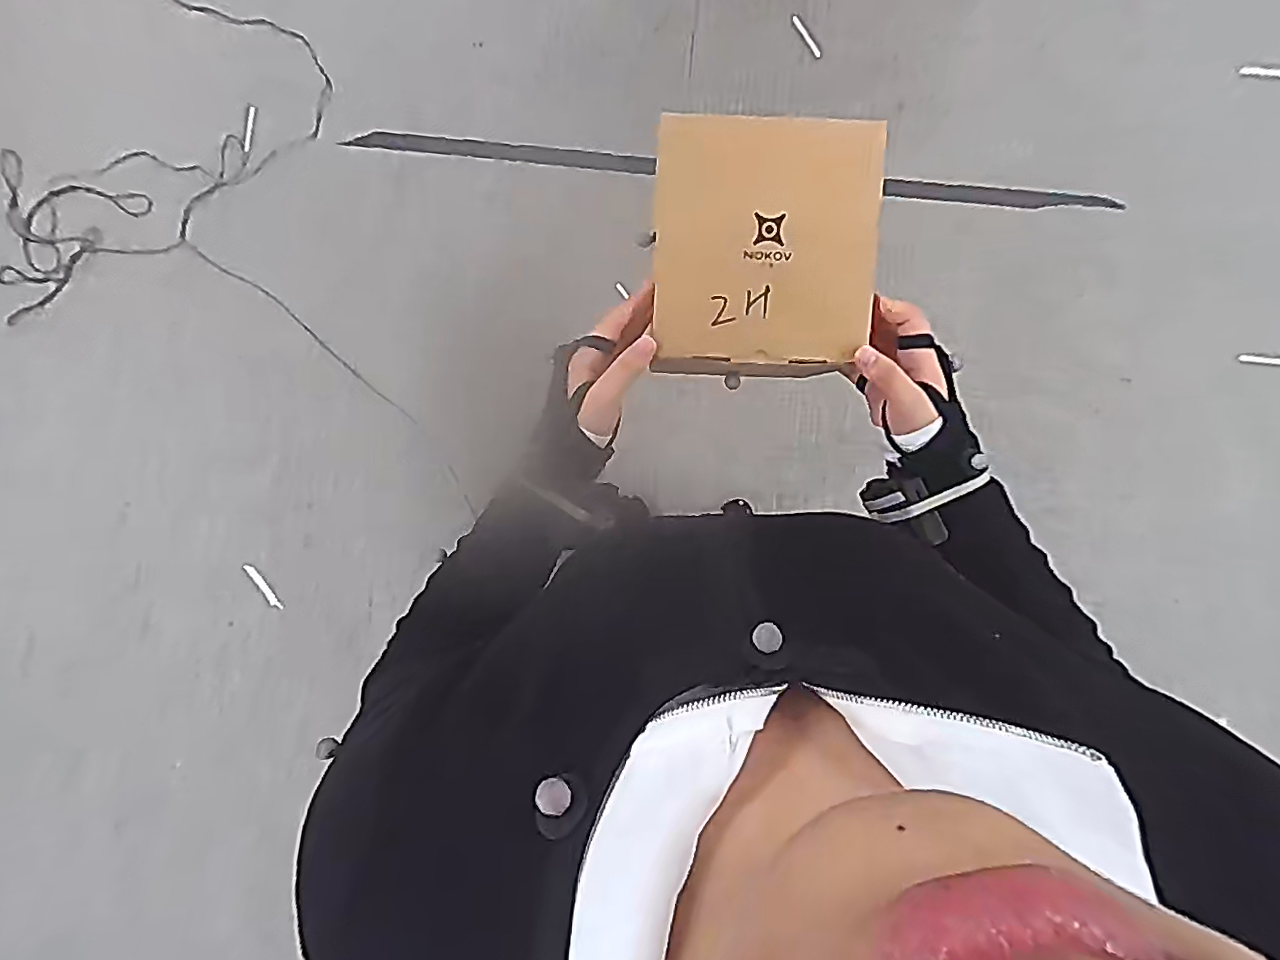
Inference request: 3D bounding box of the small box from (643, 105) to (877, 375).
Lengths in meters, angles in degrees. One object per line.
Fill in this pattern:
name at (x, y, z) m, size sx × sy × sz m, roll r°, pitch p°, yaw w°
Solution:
small box at (0.089, -0.192, 0.482) m, size 0.168 × 0.176 × 0.179 m, roll 2°, pitch 97°, yaw 0°
